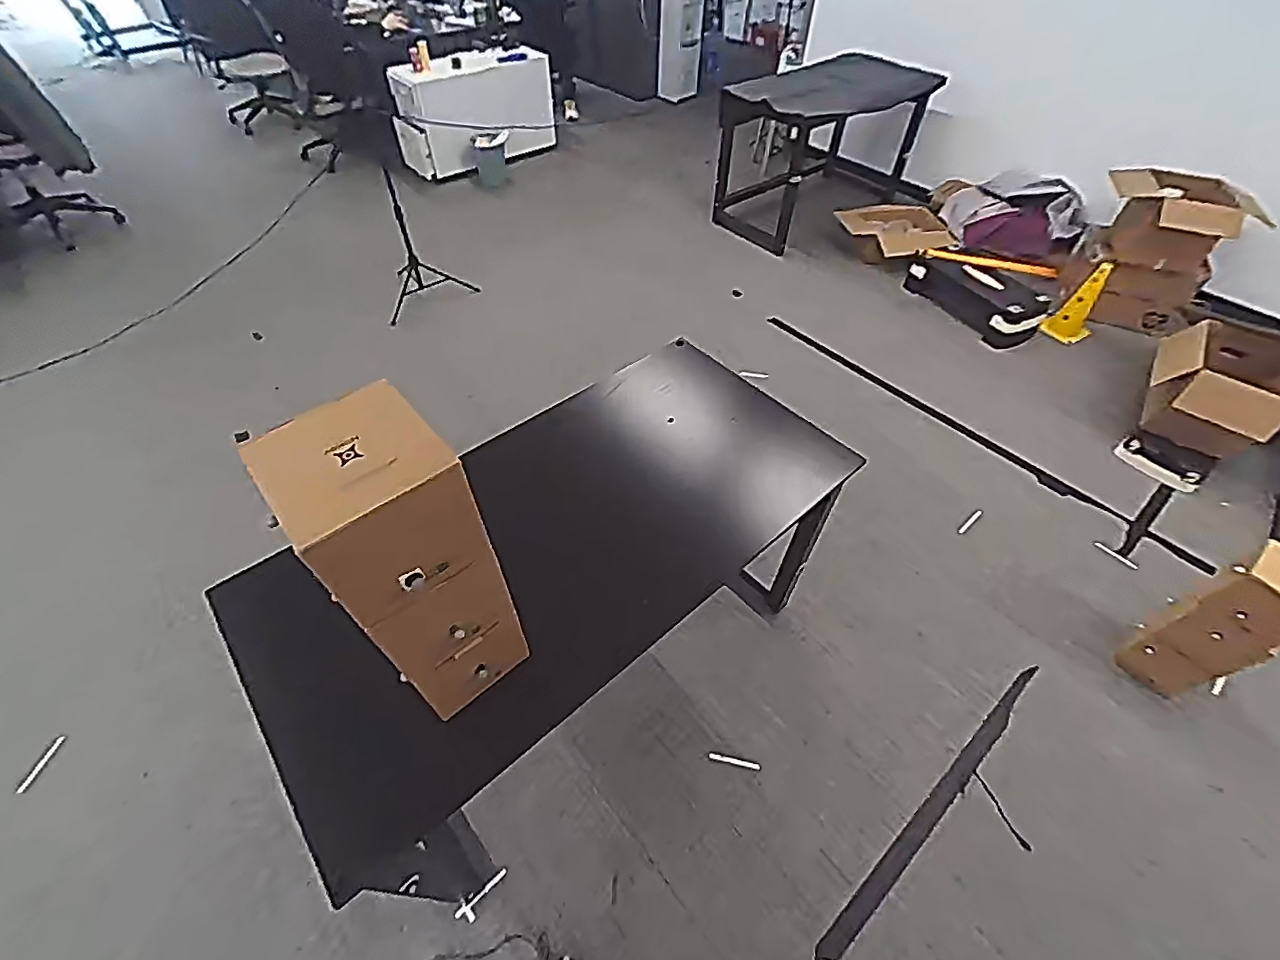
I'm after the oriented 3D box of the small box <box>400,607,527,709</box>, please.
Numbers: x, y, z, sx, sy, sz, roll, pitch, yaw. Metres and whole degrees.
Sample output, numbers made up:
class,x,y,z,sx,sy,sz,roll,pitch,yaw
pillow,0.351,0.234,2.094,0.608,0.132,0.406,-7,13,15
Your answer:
class,x,y,z,sx,sy,sz,roll,pitch,yaw
small box,-0.297,0.235,0.855,0.168,0.176,0.179,-35,59,-27

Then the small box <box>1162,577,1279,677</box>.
class,x,y,z,sx,sy,sz,roll,pitch,yaw
small box,1.607,0.406,1.484,0.168,0.176,0.179,-33,59,-25

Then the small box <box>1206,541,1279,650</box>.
class,x,y,z,sx,sy,sz,roll,pitch,yaw
small box,1.609,0.293,1.367,0.179,0.176,0.168,-31,58,-24

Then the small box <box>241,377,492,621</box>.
class,x,y,z,sx,sy,sz,roll,pitch,yaw
small box,-0.292,0.023,0.605,0.168,0.176,0.179,-35,59,-25

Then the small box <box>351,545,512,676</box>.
class,x,y,z,sx,sy,sz,roll,pitch,yaw
small box,-0.296,0.128,0.729,0.168,0.176,0.179,-35,59,-26
